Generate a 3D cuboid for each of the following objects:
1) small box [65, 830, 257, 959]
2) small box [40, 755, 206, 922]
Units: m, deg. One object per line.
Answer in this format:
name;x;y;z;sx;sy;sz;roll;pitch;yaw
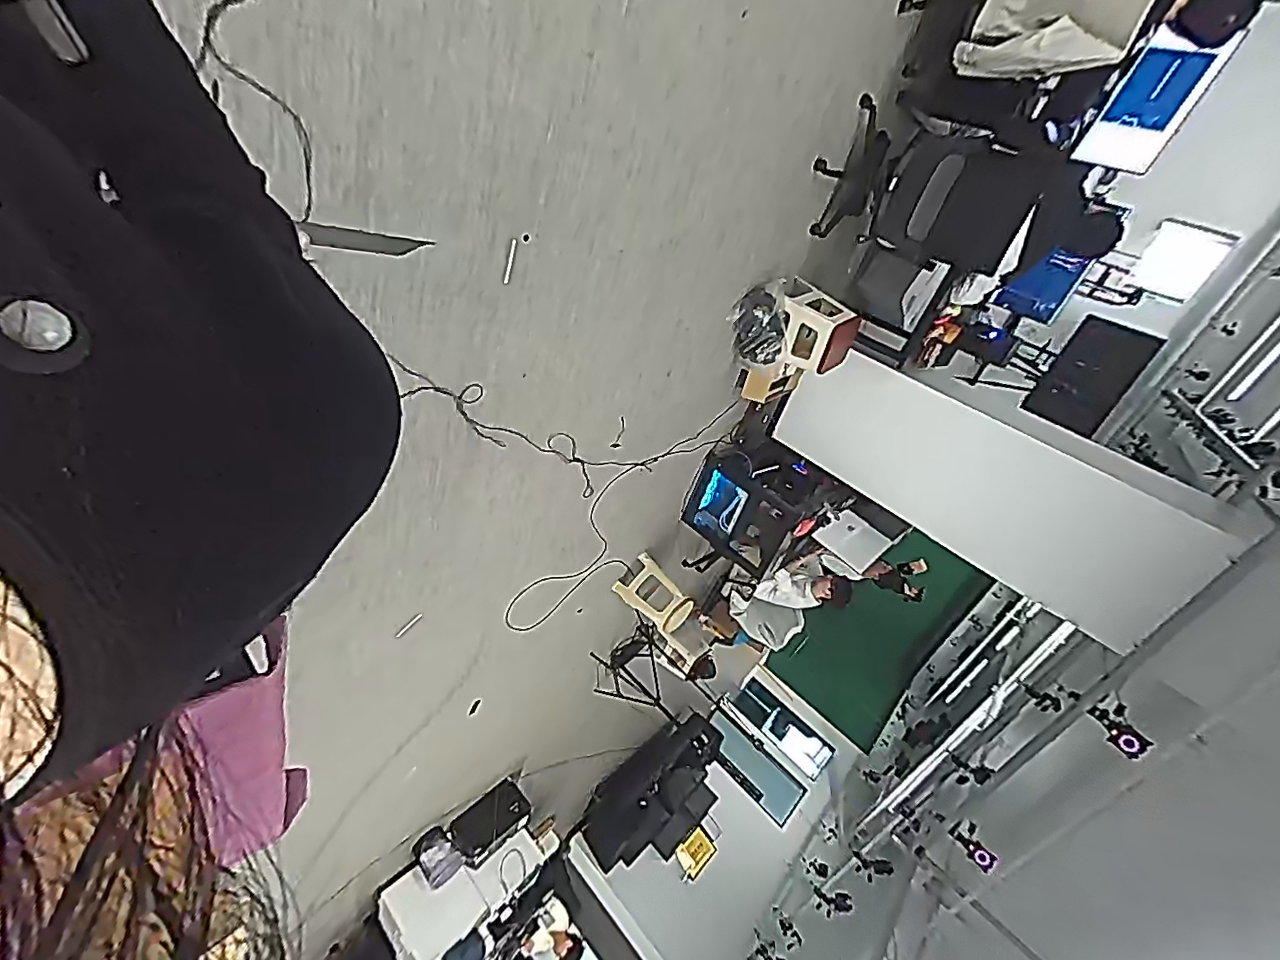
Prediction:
small box;-0.713;0.684;0.810;0.179;0.176;0.168;-22;142;-46
small box;-0.828;0.595;0.883;0.168;0.176;0.179;-20;139;-47
